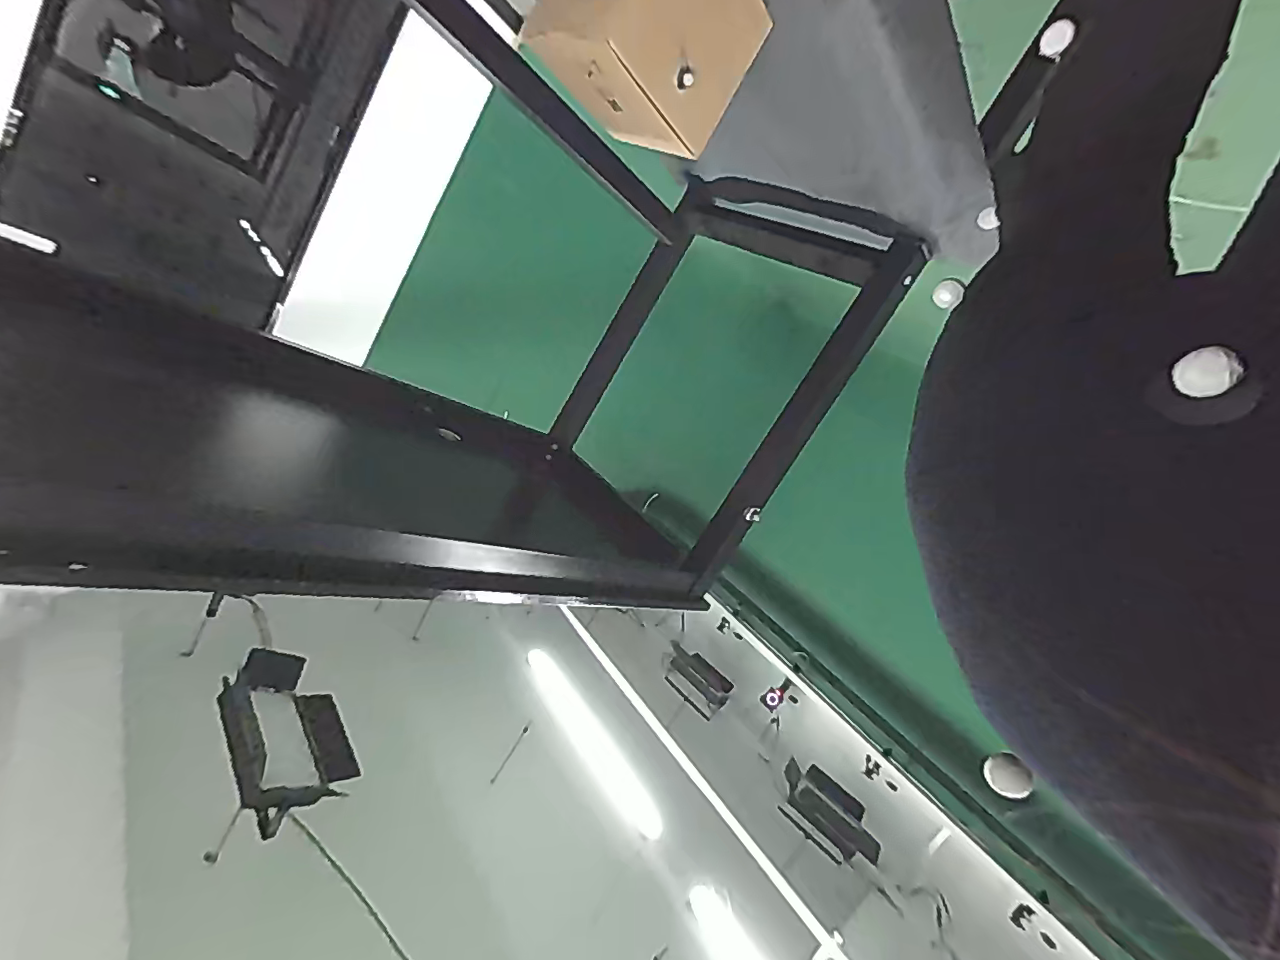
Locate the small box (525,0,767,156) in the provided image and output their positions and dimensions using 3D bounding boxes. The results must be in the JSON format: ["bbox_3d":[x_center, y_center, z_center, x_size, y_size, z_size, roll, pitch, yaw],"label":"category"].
[{"bbox_3d":[0.013,-0.511,0.608,0.168,0.176,0.179,39,-167,35],"label":"small box"}]
